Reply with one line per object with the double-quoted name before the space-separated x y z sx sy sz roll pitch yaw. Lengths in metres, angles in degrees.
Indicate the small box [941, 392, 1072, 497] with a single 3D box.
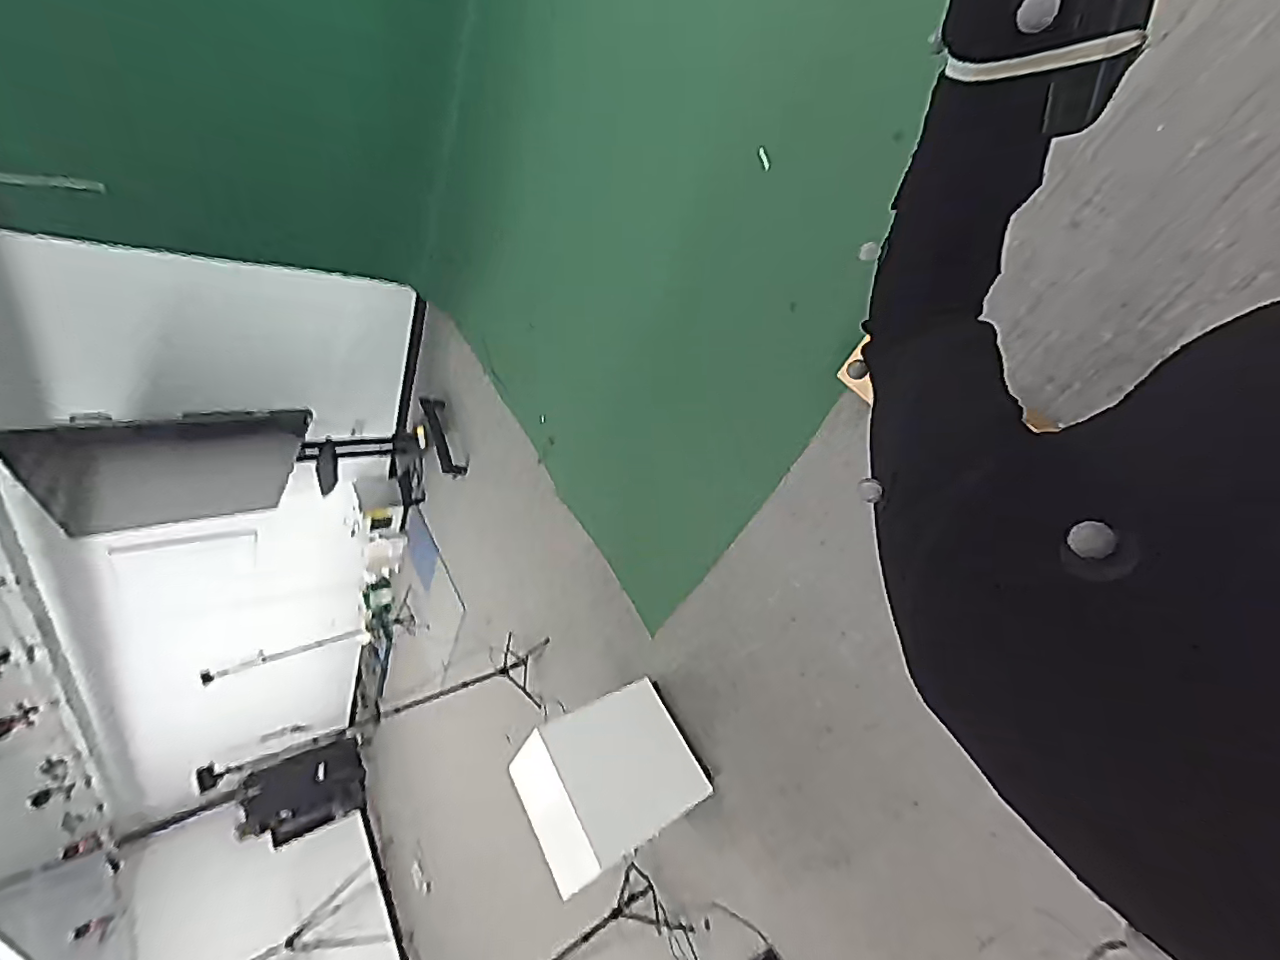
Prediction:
"small box" 0.841 -0.086 1.237 0.168 0.176 0.179 48 129 34
